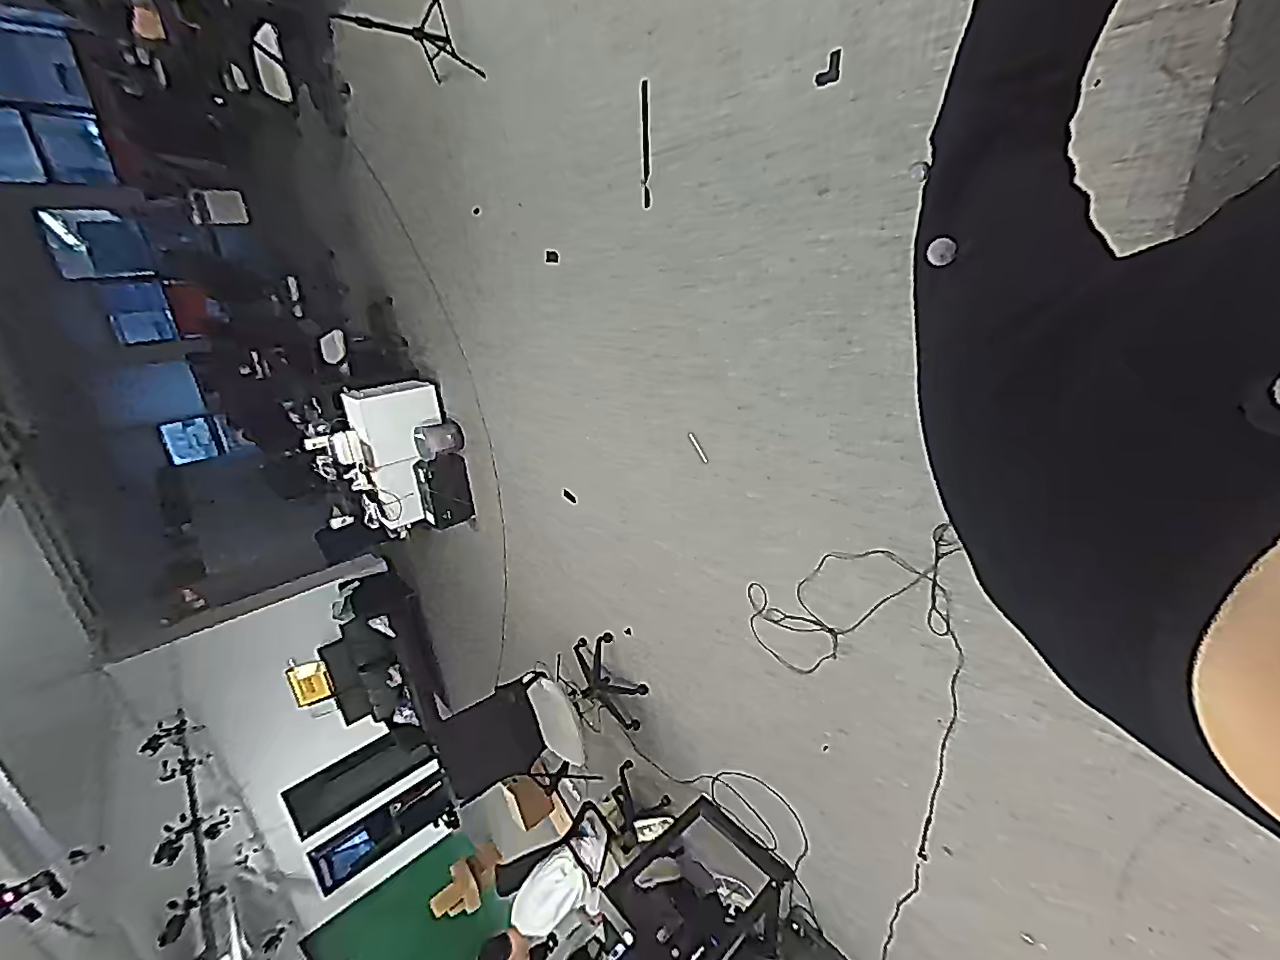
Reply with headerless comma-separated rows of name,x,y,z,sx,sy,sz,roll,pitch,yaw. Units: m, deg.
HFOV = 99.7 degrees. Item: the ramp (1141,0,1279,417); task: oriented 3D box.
ramp,1.153,-0.538,0.769,0.509,0.206,0.991,18,121,45
